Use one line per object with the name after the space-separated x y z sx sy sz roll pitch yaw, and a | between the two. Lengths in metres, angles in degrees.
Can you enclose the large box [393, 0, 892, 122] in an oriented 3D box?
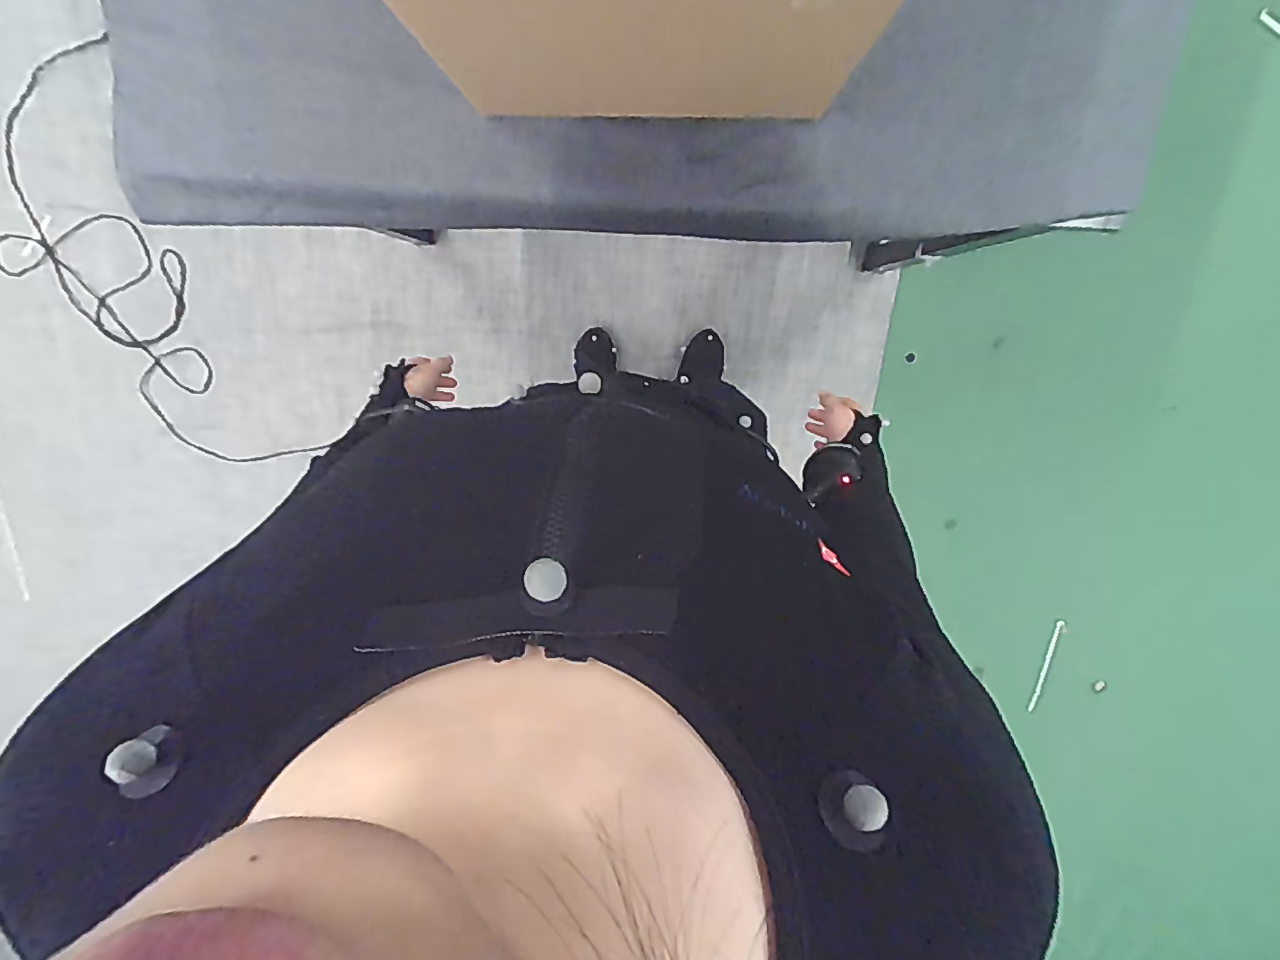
0.004 -0.538 0.460 0.408 0.320 0.320 1 106 2 | large box
